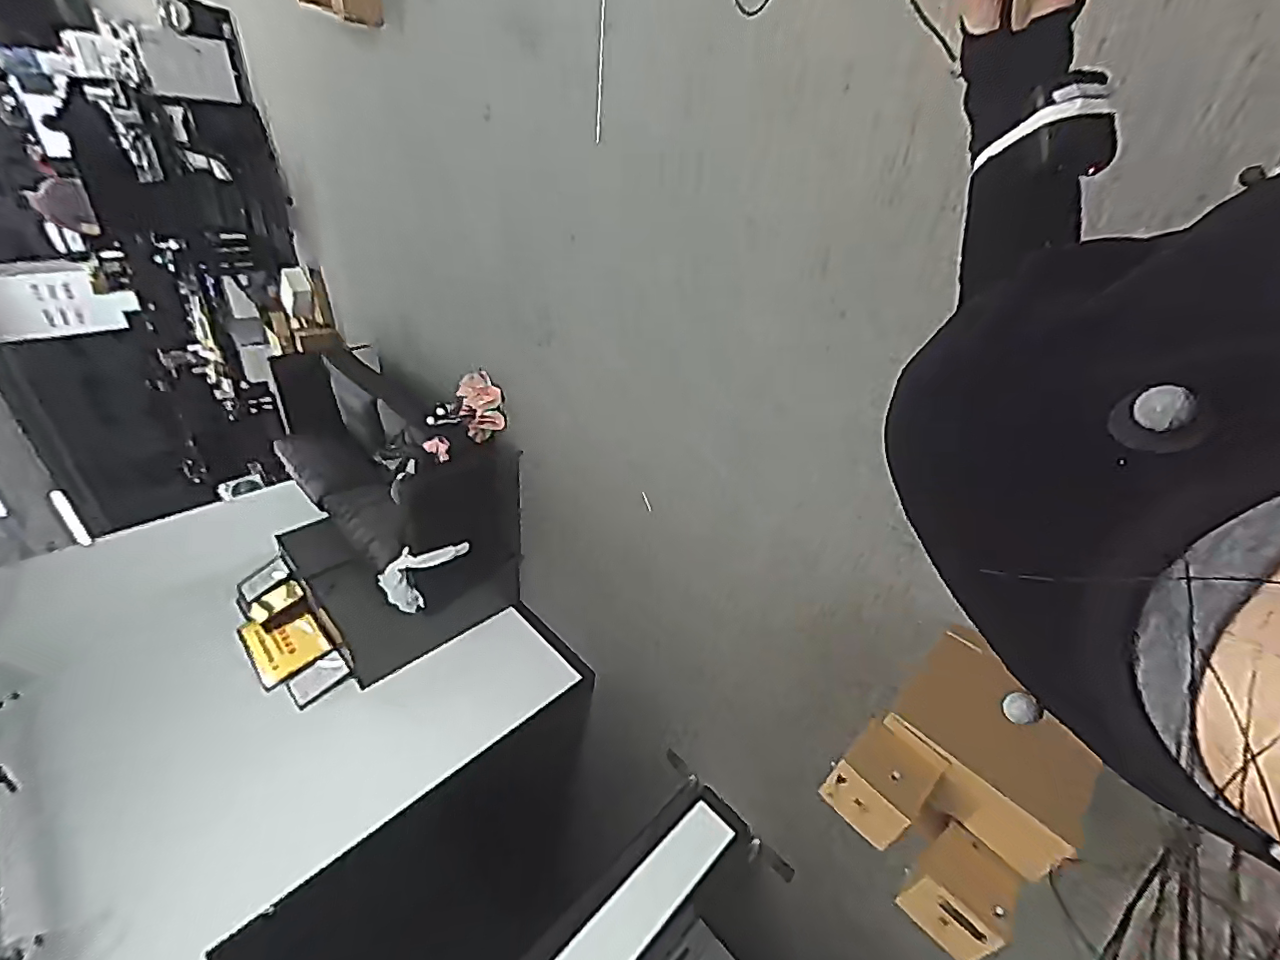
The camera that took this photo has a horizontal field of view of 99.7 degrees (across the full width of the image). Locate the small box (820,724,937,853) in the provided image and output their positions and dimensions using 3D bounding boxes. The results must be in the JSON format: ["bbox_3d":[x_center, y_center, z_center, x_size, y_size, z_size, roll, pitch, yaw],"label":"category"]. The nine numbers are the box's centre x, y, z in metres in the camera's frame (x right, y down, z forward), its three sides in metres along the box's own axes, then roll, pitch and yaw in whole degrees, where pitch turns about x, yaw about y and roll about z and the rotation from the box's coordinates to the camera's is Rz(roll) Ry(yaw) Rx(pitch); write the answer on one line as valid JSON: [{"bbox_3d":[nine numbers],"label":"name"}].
[{"bbox_3d":[0.572,0.730,1.296,0.179,0.176,0.168,36,131,31],"label":"small box"}]
